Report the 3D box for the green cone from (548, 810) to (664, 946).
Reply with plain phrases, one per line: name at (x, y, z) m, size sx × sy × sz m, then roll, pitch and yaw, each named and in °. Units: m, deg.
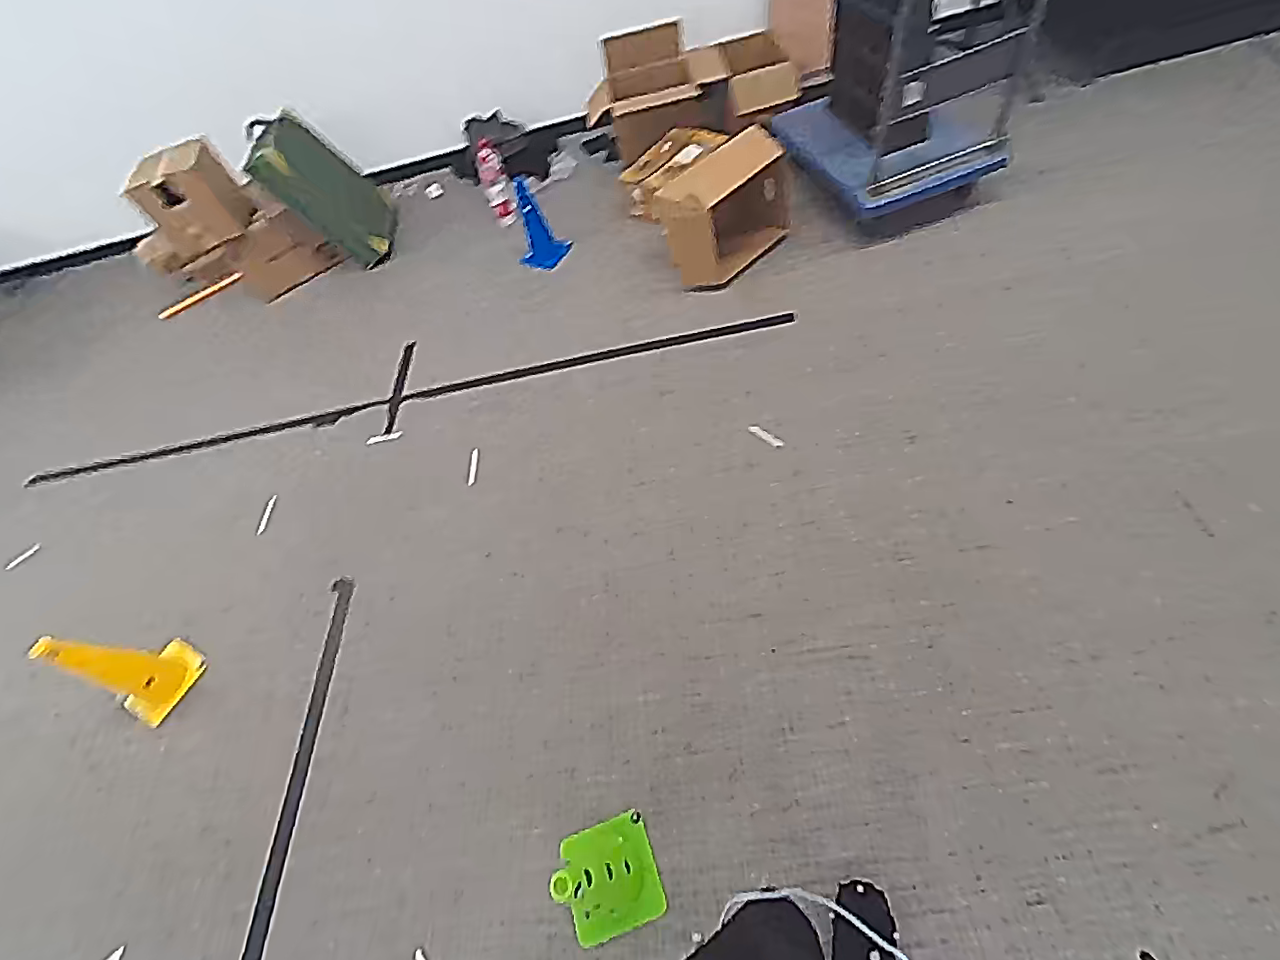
green cone at (-0.102, 0.767, 1.034) m, size 0.200 × 0.368 × 0.202 m, roll -23°, pitch 56°, yaw -1°
